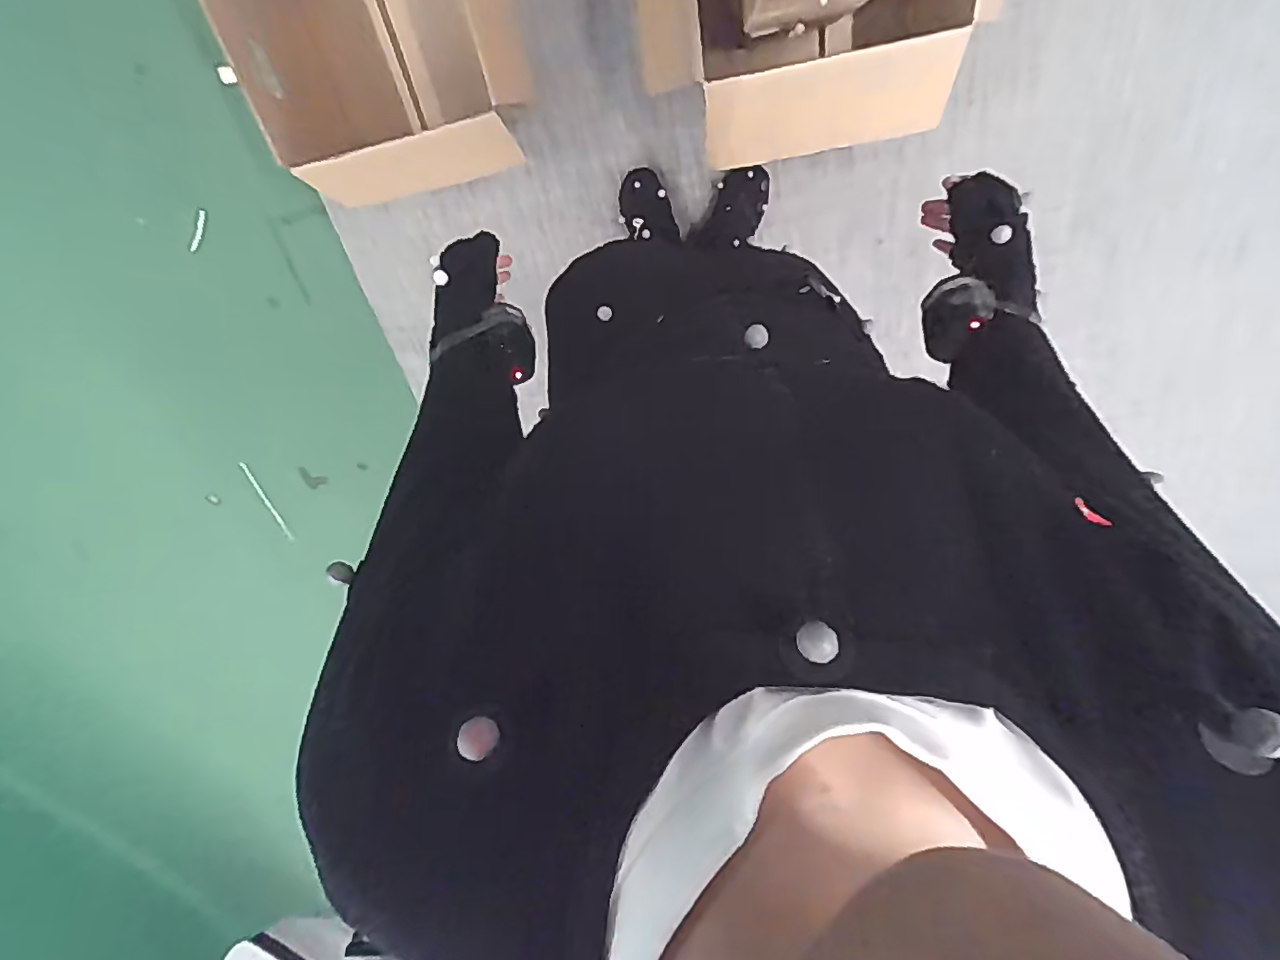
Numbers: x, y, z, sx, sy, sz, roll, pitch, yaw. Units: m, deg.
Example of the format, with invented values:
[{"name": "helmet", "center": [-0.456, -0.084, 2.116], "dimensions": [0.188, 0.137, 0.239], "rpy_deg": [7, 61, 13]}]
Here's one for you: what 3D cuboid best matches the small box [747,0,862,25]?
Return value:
[{"name": "small box", "center": [0.220, -0.687, 0.662], "dimensions": [0.179, 0.176, 0.168], "rpy_deg": [-5, 124, 10]}]
